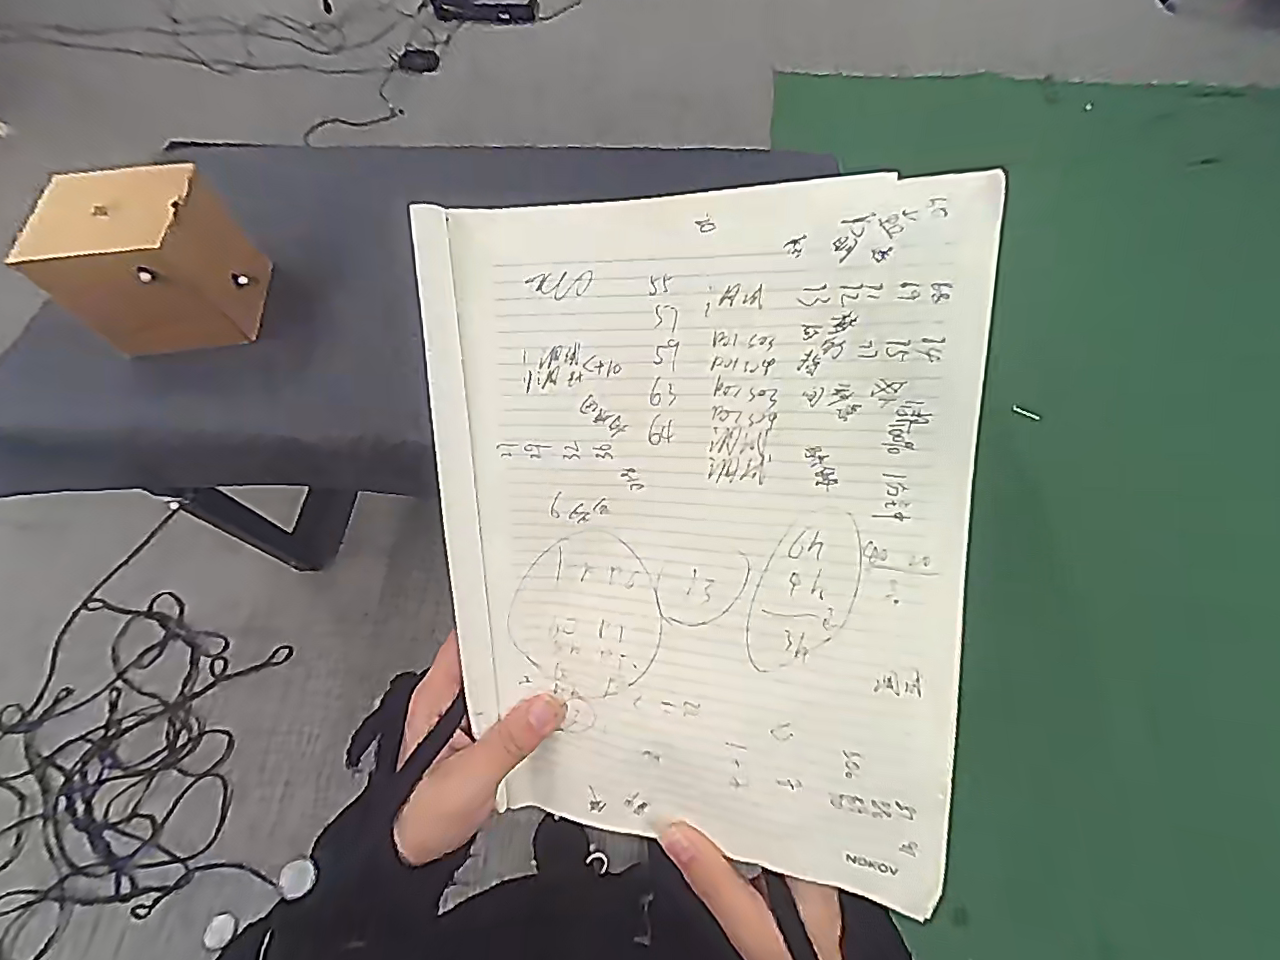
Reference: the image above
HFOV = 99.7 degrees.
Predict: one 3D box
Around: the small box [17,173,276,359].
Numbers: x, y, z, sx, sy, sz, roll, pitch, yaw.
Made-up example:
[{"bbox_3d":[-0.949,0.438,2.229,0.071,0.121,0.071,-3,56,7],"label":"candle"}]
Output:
[{"bbox_3d":[-0.646,-0.283,0.738,0.179,0.176,0.168,-8,62,-4],"label":"small box"}]
